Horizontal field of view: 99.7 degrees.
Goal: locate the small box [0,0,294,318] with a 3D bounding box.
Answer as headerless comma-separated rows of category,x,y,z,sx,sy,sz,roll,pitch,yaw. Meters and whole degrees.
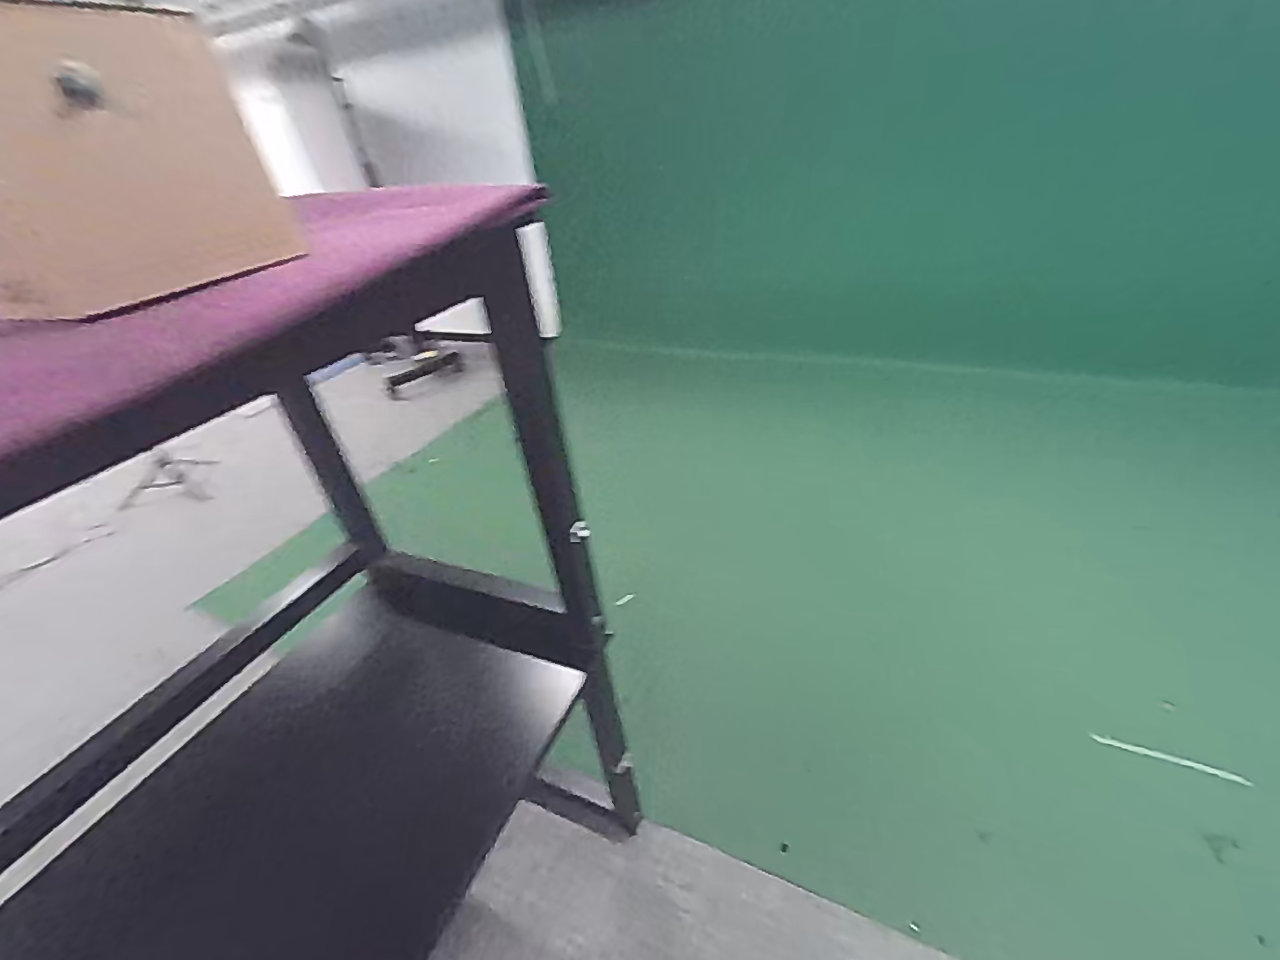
small box,-0.414,-0.228,0.404,0.168,0.176,0.179,8,37,25
